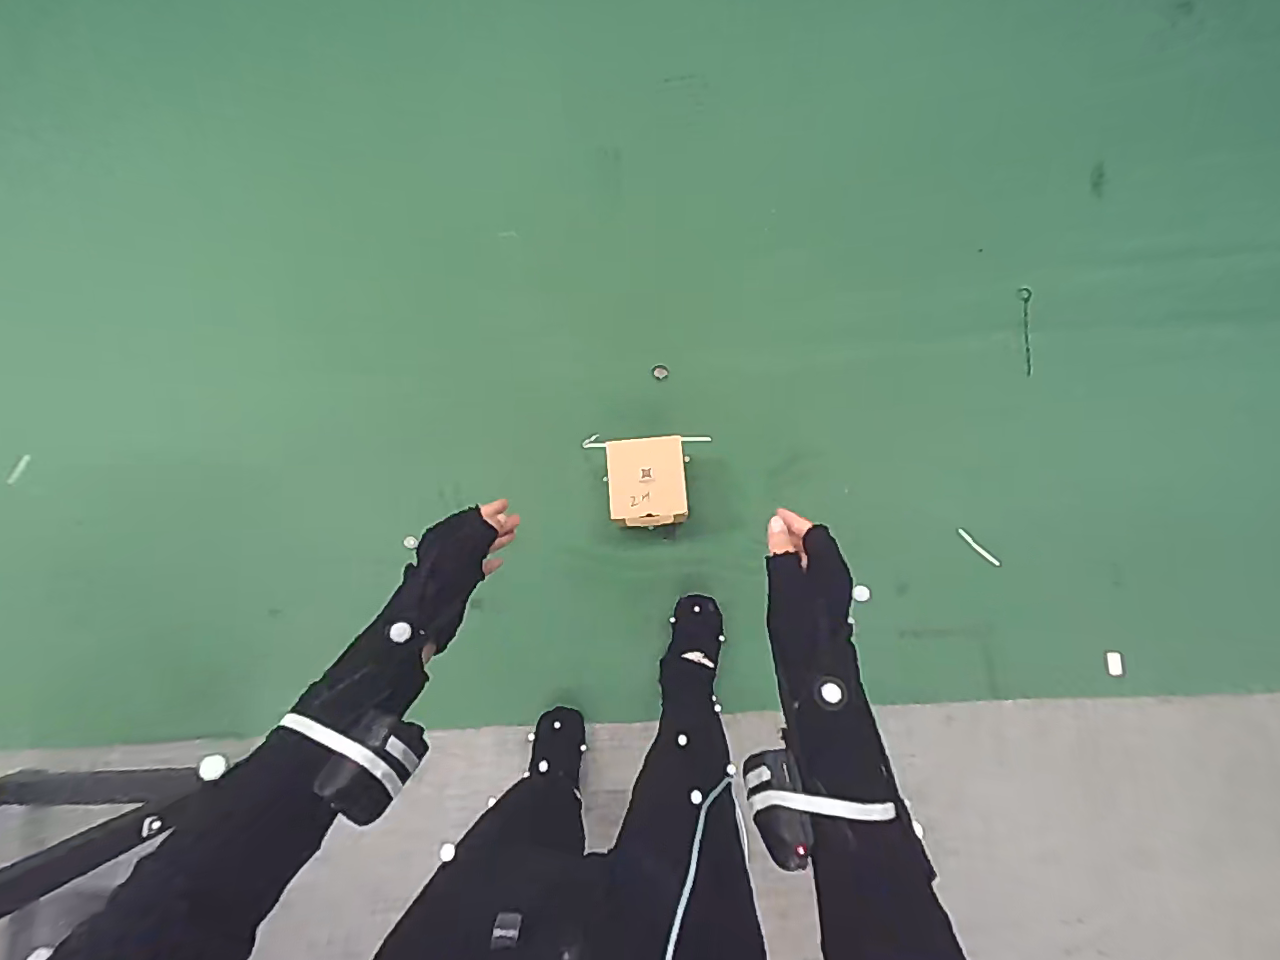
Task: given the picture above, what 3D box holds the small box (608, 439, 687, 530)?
[{"bbox_3d":[0.016,0.015,1.242,0.168,0.176,0.179,-4,79,2],"label":"small box"}]
